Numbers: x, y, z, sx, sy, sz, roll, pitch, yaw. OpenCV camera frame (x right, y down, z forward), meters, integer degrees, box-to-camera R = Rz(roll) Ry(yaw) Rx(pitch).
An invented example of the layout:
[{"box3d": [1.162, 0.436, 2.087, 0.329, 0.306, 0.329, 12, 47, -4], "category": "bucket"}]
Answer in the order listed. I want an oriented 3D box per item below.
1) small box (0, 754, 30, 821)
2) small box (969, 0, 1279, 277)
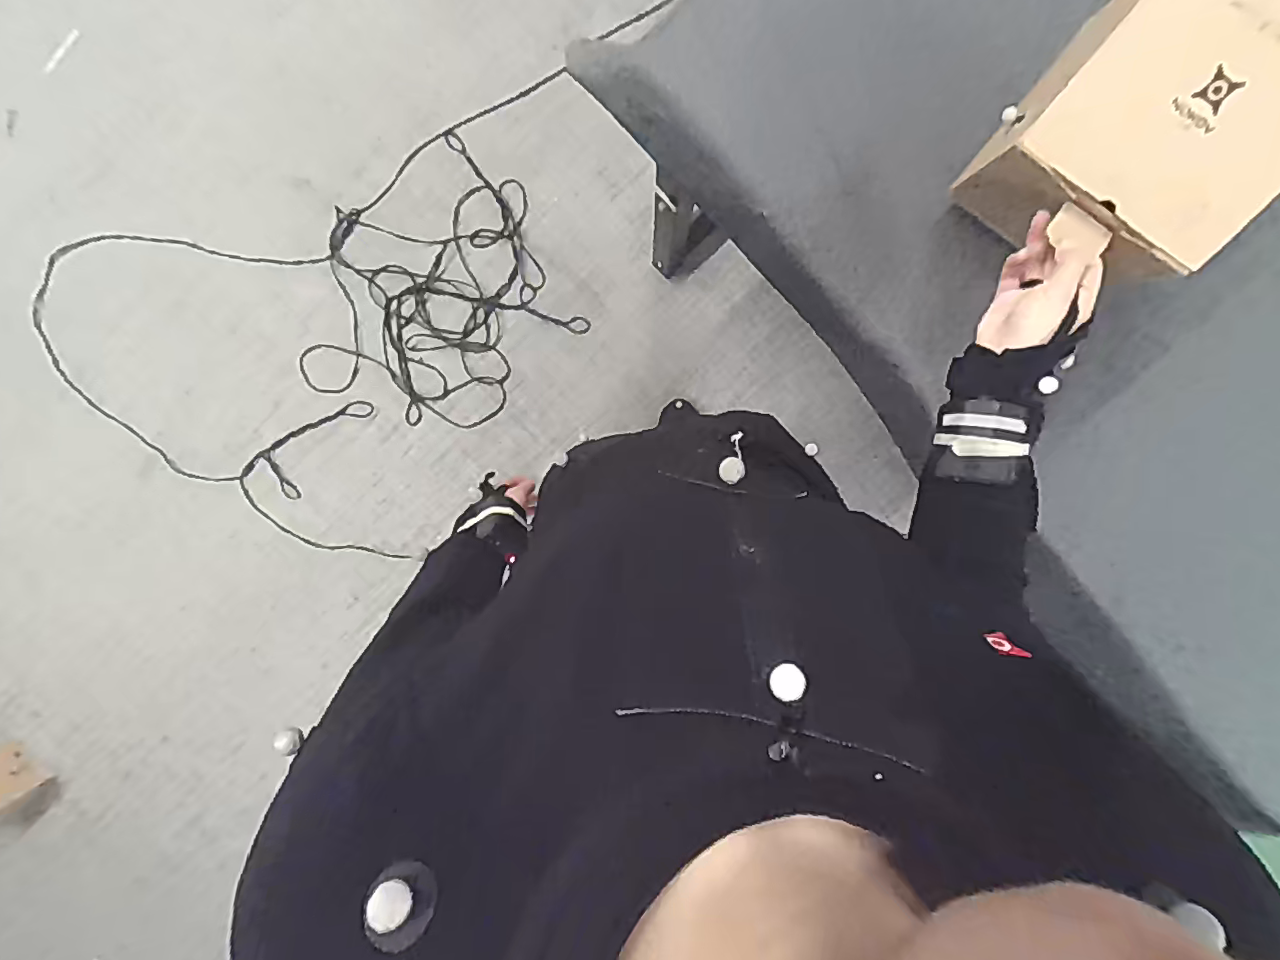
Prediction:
[{"box3d": [-1.709, 0.816, 1.343, 0.179, 0.176, 0.168, -43, 94, 4], "category": "small box"}, {"box3d": [0.408, -0.287, 0.440, 0.168, 0.176, 0.179, 36, 109, 0], "category": "small box"}]
